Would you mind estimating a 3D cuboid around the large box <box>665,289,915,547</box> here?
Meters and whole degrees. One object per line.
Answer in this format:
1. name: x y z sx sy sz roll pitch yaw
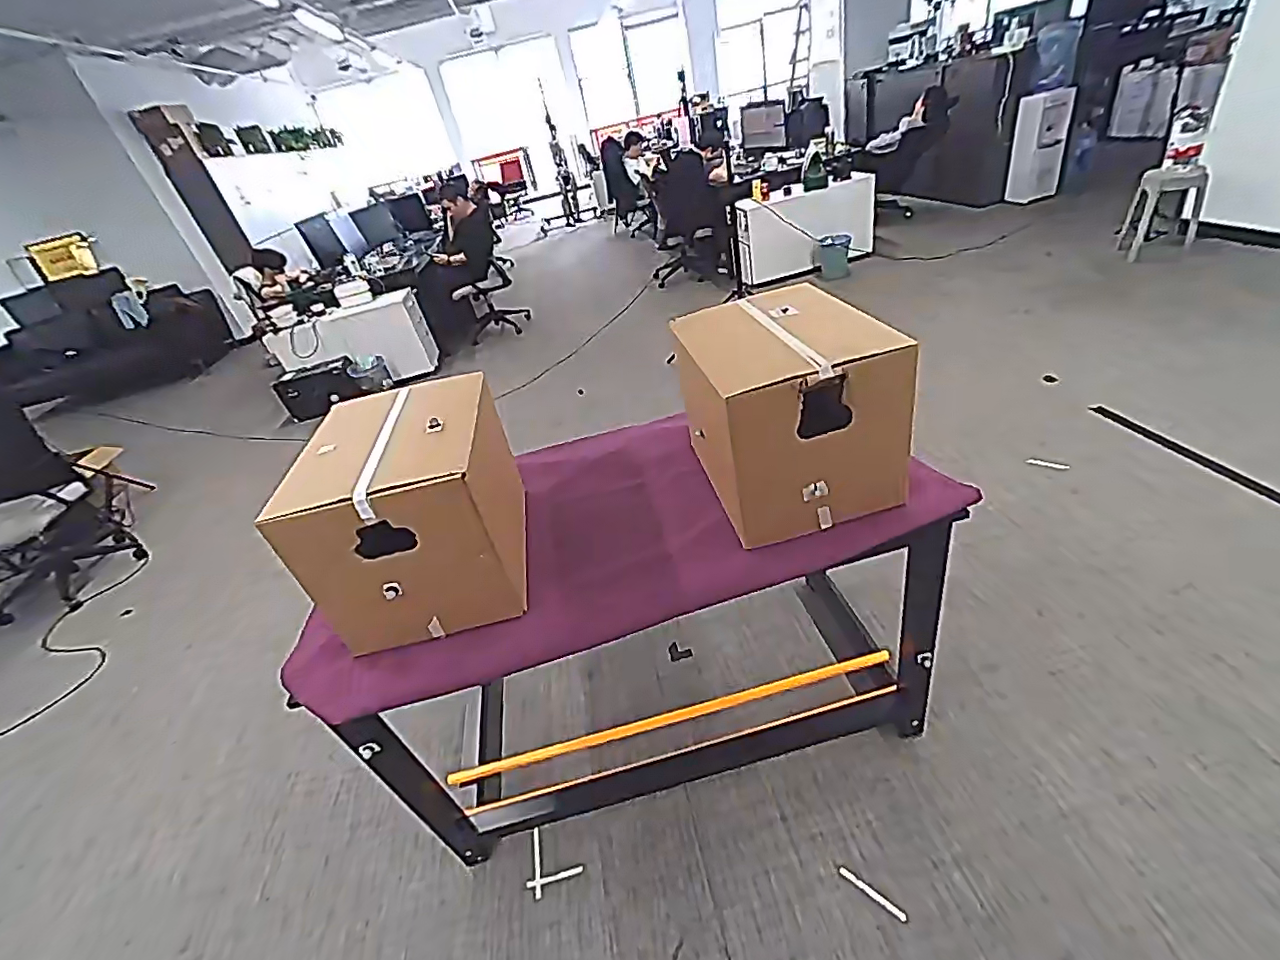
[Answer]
1. large box: 0.267 -0.137 1.049 0.320 0.320 0.408 -15 33 -3
